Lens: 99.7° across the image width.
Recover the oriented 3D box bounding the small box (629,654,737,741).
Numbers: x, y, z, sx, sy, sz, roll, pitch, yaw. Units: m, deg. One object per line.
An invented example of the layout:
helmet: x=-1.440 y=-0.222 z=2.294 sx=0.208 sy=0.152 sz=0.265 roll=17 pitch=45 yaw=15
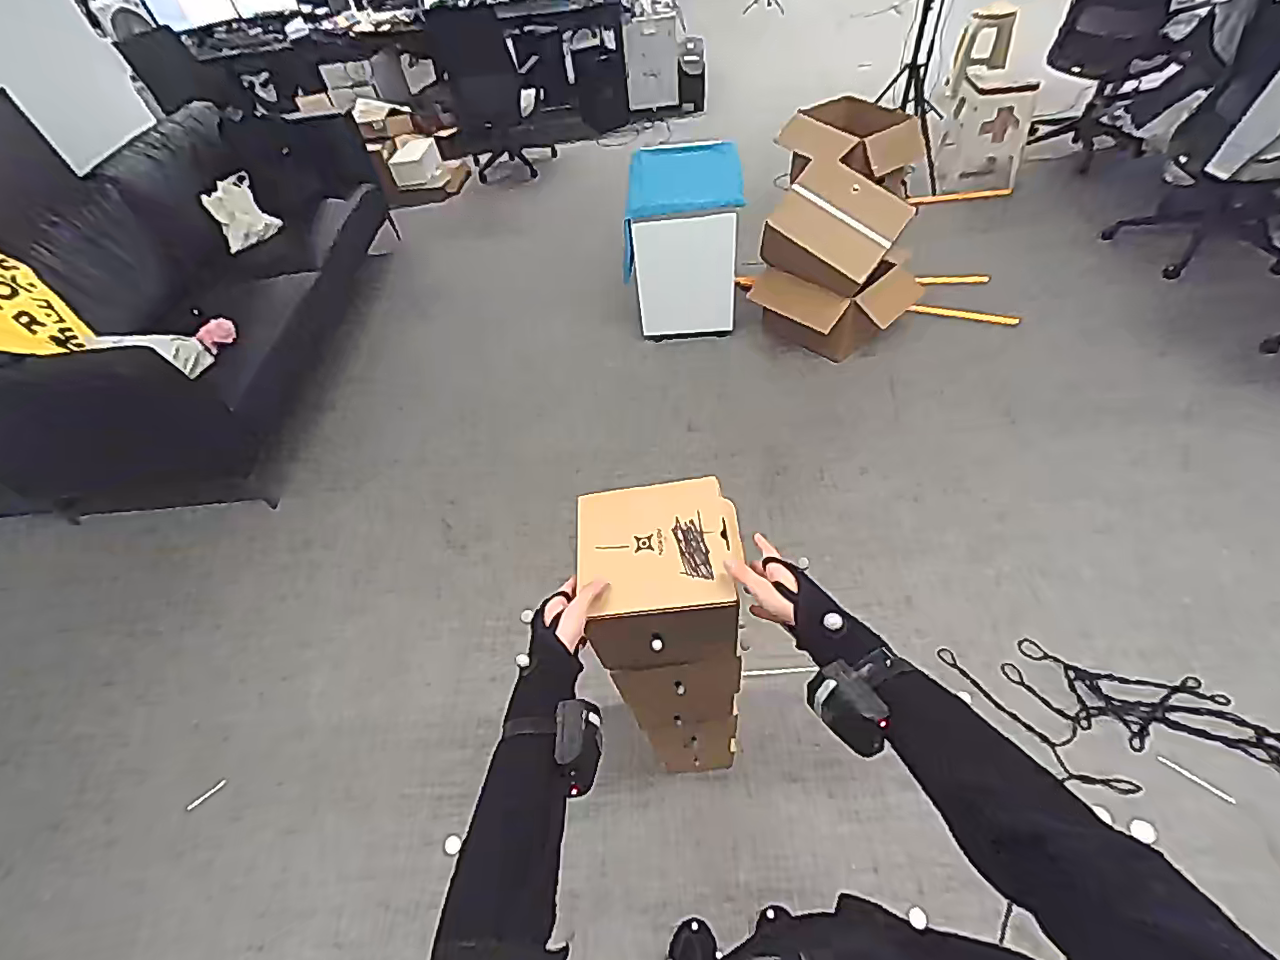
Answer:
small box: x=0.069 y=0.329 z=0.935 sx=0.168 sy=0.176 sz=0.179 roll=-9 pitch=50 yaw=3

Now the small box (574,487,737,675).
small box: x=0.023 y=0.131 z=0.677 sx=0.179 sy=0.176 sz=0.168 roll=-8 pitch=51 yaw=5

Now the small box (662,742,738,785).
small box: x=0.141 y=0.629 z=1.315 sx=0.179 sy=0.176 sz=0.168 roll=-6 pitch=49 yaw=3

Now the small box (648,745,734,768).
small box: x=0.110 y=0.524 z=1.193 sx=0.179 sy=0.176 sz=0.168 roll=-7 pitch=50 yaw=4

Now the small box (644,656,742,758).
small box: x=0.095 y=0.430 z=1.060 sx=0.179 sy=0.176 sz=0.168 roll=-8 pitch=49 yaw=2
